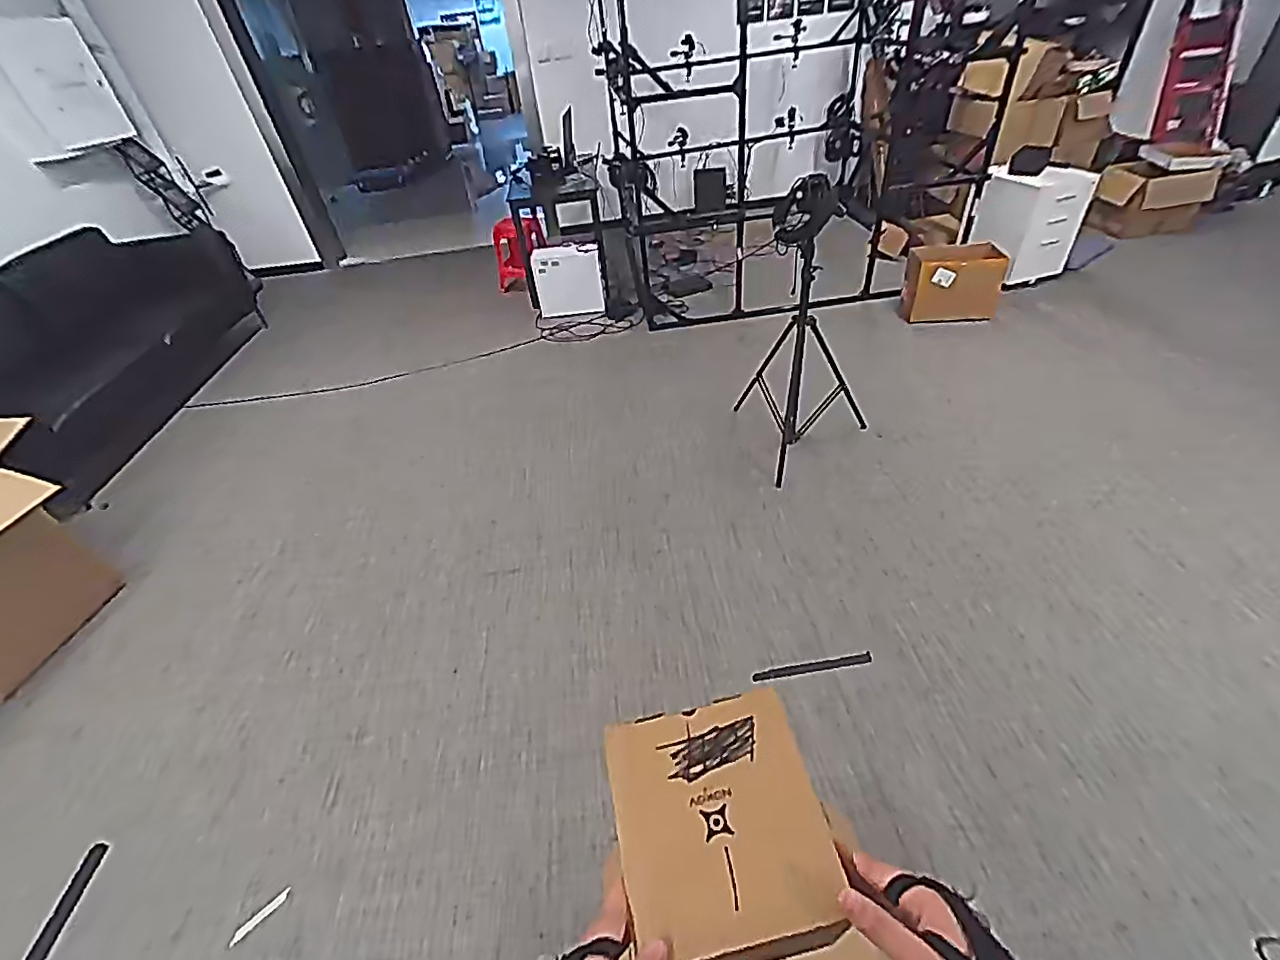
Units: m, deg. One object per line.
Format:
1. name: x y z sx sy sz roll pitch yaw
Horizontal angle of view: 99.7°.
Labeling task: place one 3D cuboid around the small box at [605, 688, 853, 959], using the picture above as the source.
1. small box: 0.070 0.328 0.502 0.168 0.176 0.179 -13 44 -3
